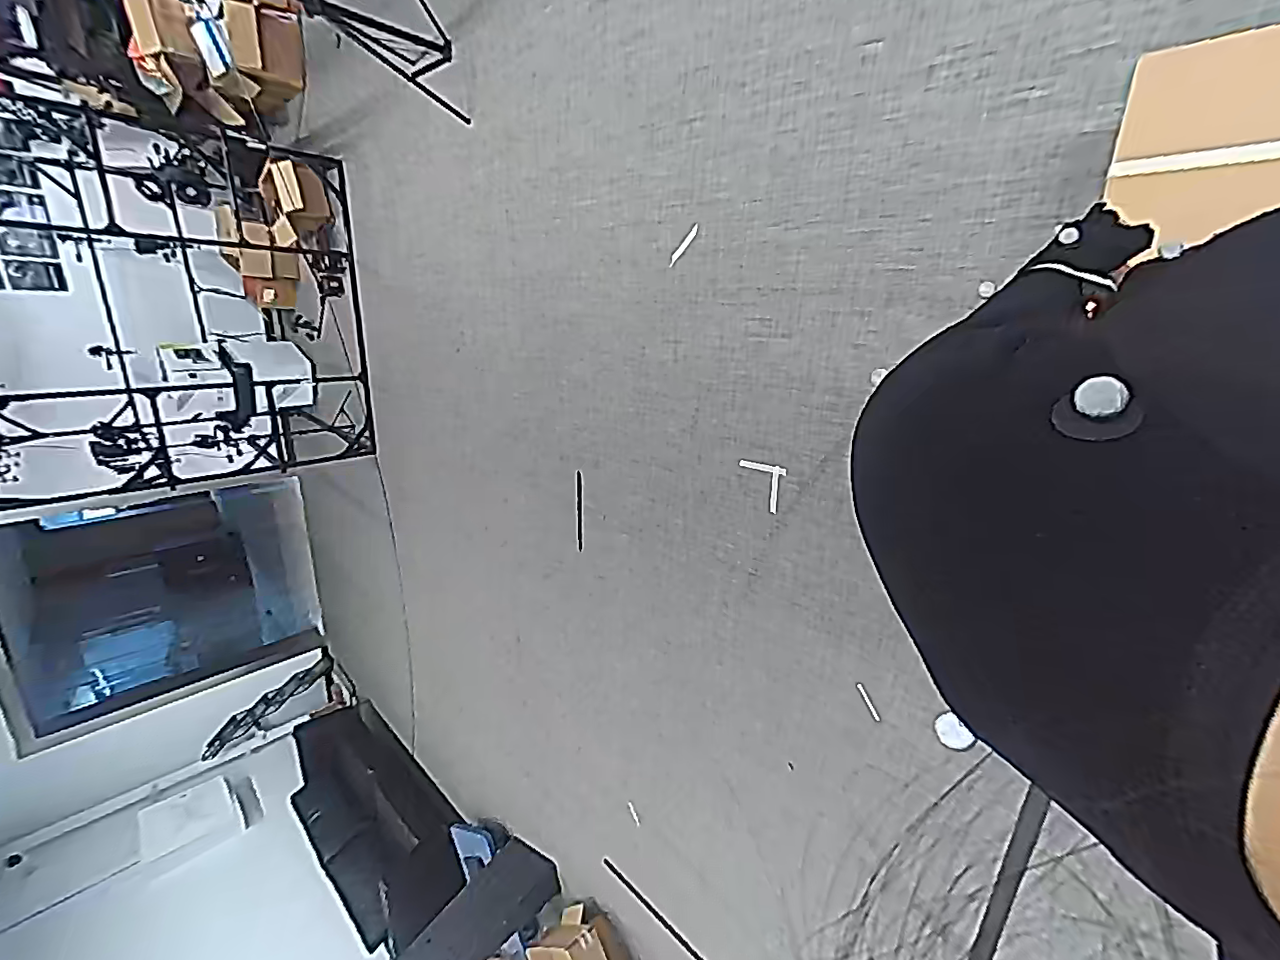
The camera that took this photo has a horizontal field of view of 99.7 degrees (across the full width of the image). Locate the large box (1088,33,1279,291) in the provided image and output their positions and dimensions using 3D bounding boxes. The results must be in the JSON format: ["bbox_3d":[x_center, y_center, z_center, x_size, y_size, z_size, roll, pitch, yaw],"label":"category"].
[{"bbox_3d":[1.001,-0.473,0.842,0.408,0.320,0.320,17,113,42],"label":"large box"}]
